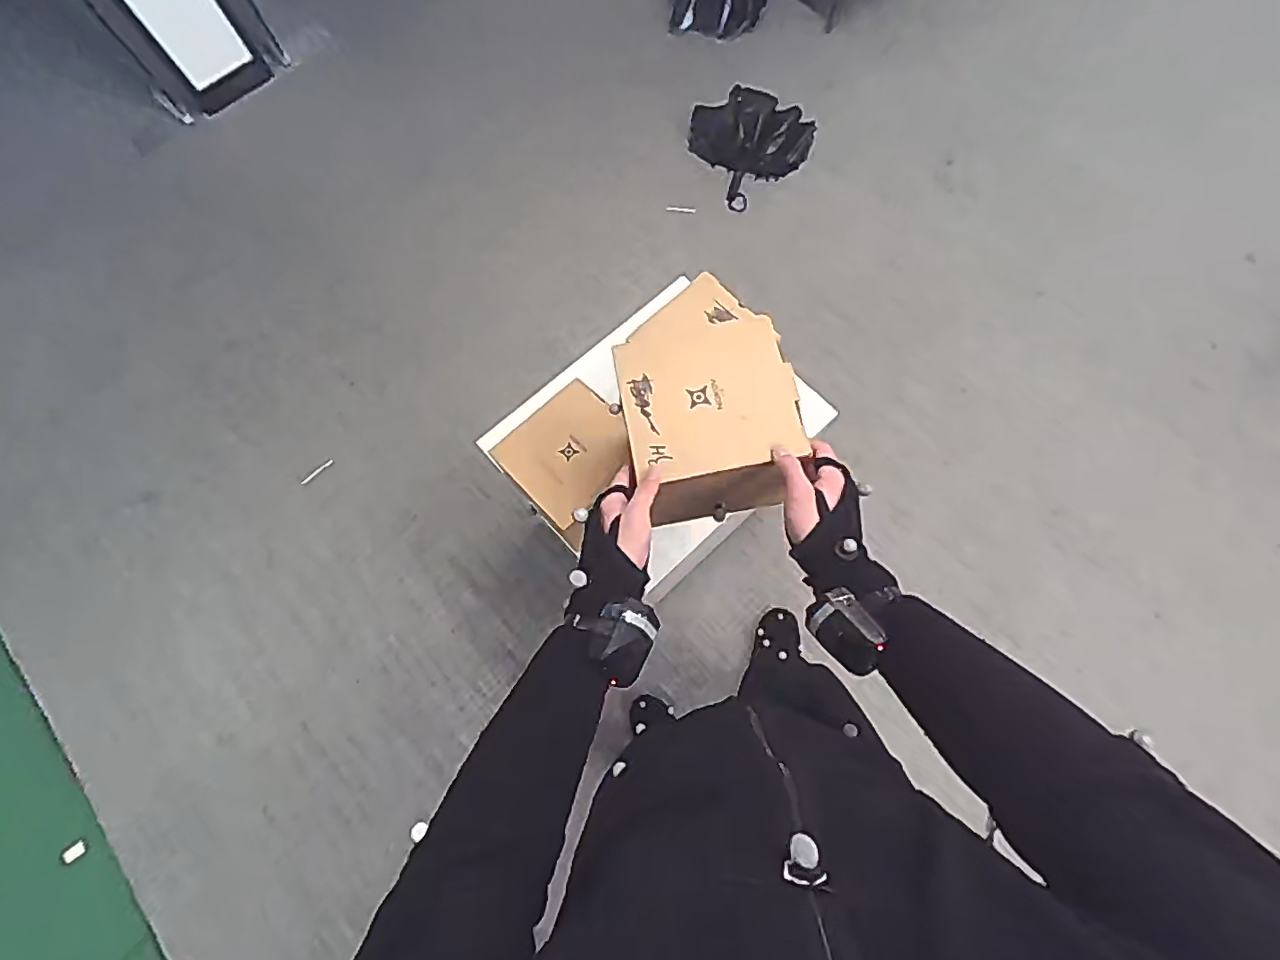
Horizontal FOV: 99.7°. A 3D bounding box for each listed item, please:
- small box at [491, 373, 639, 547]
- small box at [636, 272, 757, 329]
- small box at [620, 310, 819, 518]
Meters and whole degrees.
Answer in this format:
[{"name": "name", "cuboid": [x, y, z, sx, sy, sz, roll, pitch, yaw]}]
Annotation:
[{"name": "small box", "cuboid": [-0.095, -0.023, 0.831, 0.179, 0.176, 0.168, -42, 76, -13]}, {"name": "small box", "cuboid": [0.103, -0.192, 0.888, 0.179, 0.176, 0.168, -40, 77, -11]}, {"name": "small box", "cuboid": [0.077, -0.065, 0.618, 0.179, 0.176, 0.168, -10, 70, -2]}]
